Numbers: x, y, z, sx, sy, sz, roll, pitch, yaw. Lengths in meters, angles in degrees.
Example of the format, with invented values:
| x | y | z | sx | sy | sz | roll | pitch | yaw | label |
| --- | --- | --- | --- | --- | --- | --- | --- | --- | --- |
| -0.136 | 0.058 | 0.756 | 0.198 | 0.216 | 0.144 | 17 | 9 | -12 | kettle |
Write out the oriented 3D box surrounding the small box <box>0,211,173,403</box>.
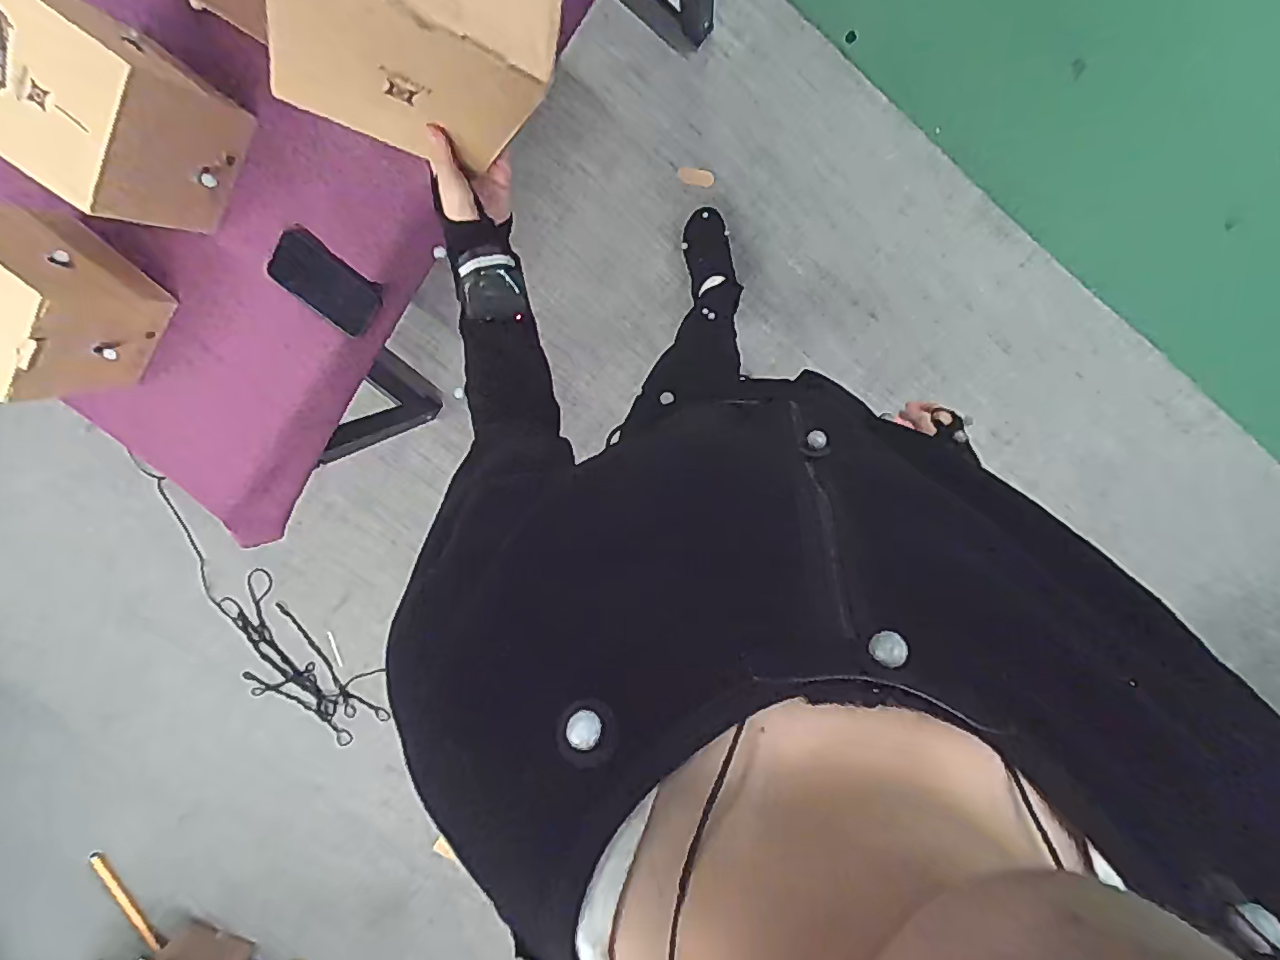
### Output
| x | y | z | sx | sy | sz | roll | pitch | yaw | label |
| --- | --- | --- | --- | --- | --- | --- | --- | --- | --- |
| -0.775 | -0.229 | 0.701 | 0.179 | 0.176 | 0.168 | 41 | 106 | -7 | small box |

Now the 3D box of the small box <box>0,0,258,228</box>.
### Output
| x | y | z | sx | sy | sz | roll | pitch | yaw | label |
| --- | --- | --- | --- | --- | --- | --- | --- | --- | --- |
| -0.603 | -0.419 | 0.624 | 0.179 | 0.176 | 0.168 | 37 | 107 | -6 | small box |

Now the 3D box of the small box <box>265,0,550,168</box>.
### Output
| x | y | z | sx | sy | sz | roll | pitch | yaw | label |
| --- | --- | --- | --- | --- | --- | --- | --- | --- | --- |
| -0.163 | -0.378 | 0.394 | 0.168 | 0.179 | 0.176 | 8 | 89 | -33 | small box |
